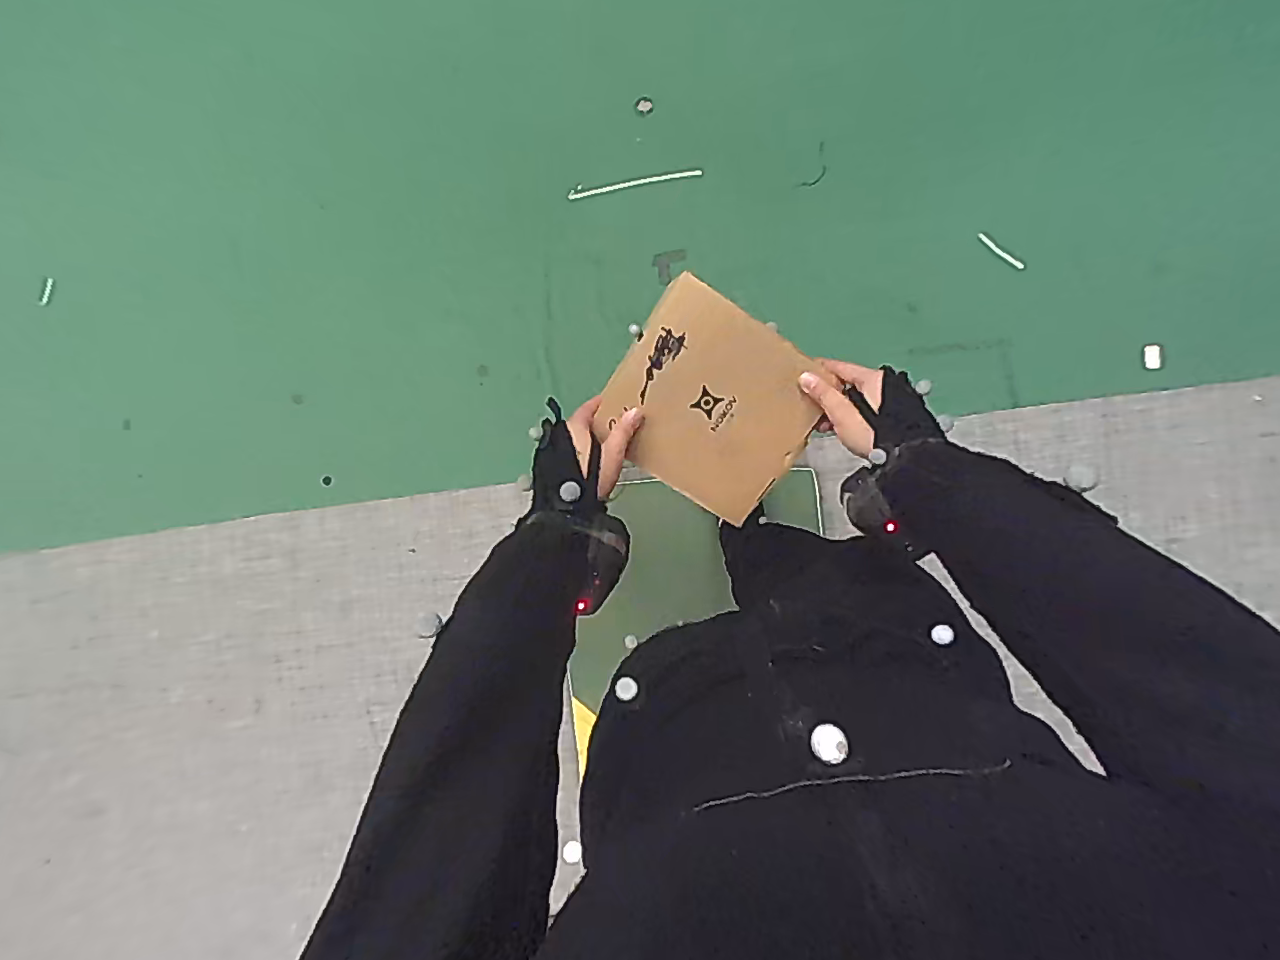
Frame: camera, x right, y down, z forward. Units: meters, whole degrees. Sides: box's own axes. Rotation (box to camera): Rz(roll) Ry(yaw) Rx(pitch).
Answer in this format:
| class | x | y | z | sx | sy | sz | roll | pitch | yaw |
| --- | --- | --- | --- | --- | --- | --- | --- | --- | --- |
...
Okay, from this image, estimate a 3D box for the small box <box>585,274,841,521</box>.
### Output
| class | x | y | z | sx | sy | sz | roll | pitch | yaw |
| --- | --- | --- | --- | --- | --- | --- | --- | --- | --- |
| small box | 0.065 | -0.092 | 0.560 | 0.179 | 0.176 | 0.168 | 32 | 105 | -10 |
